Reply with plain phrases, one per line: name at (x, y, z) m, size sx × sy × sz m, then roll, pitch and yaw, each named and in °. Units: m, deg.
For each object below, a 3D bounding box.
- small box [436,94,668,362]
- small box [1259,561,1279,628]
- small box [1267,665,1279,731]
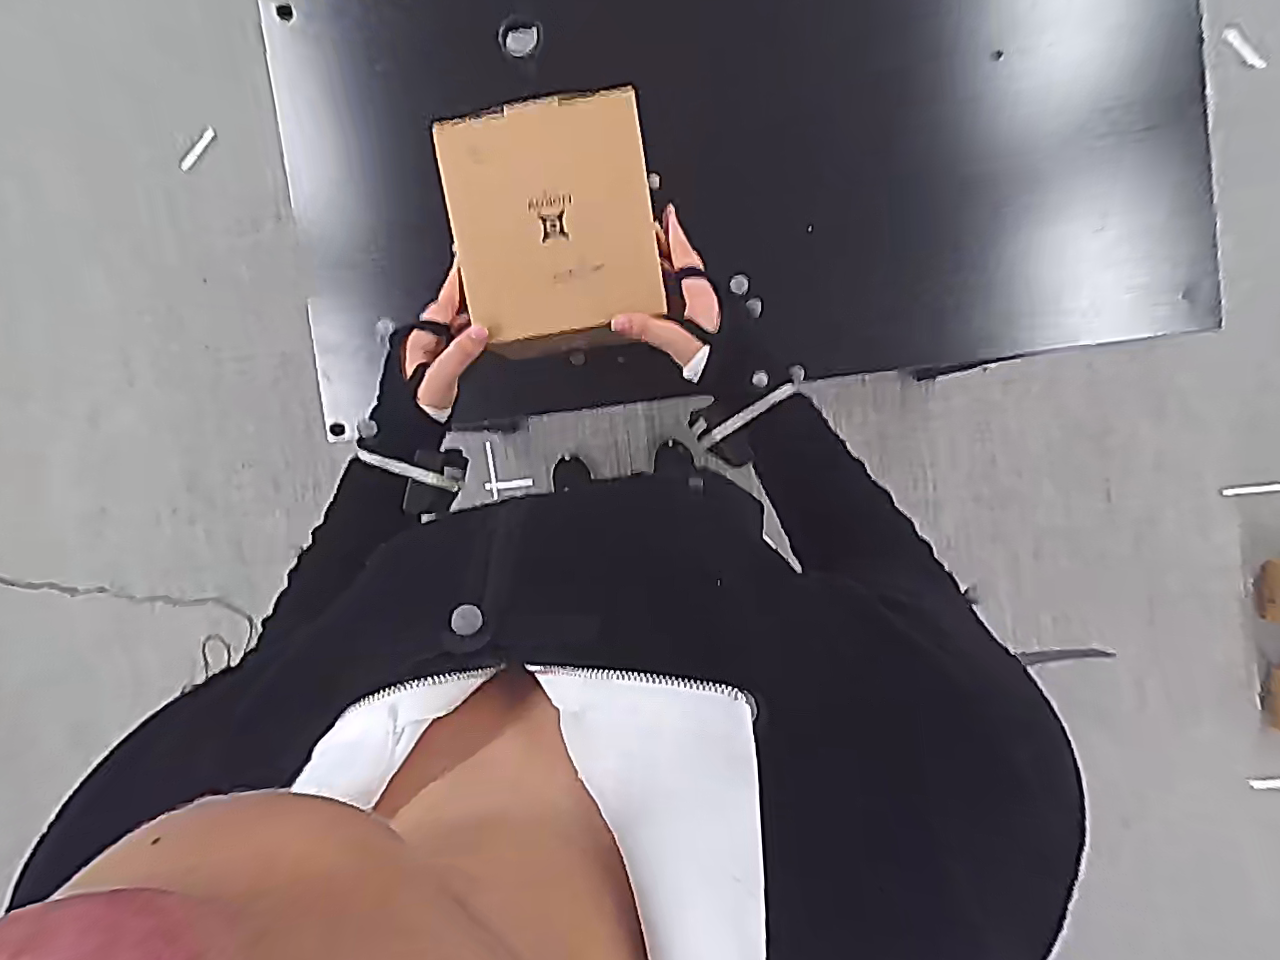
small box at (-0.070, -0.216, 0.513) m, size 0.168 × 0.176 × 0.179 m, roll -9°, pitch 98°, yaw 2°
small box at (1.697, 0.294, 1.329) m, size 0.179 × 0.176 × 0.168 m, roll -4°, pitch 94°, yaw 4°
small box at (1.736, 0.577, 1.348) m, size 0.168 × 0.176 × 0.179 m, roll -7°, pitch 95°, yaw 4°
